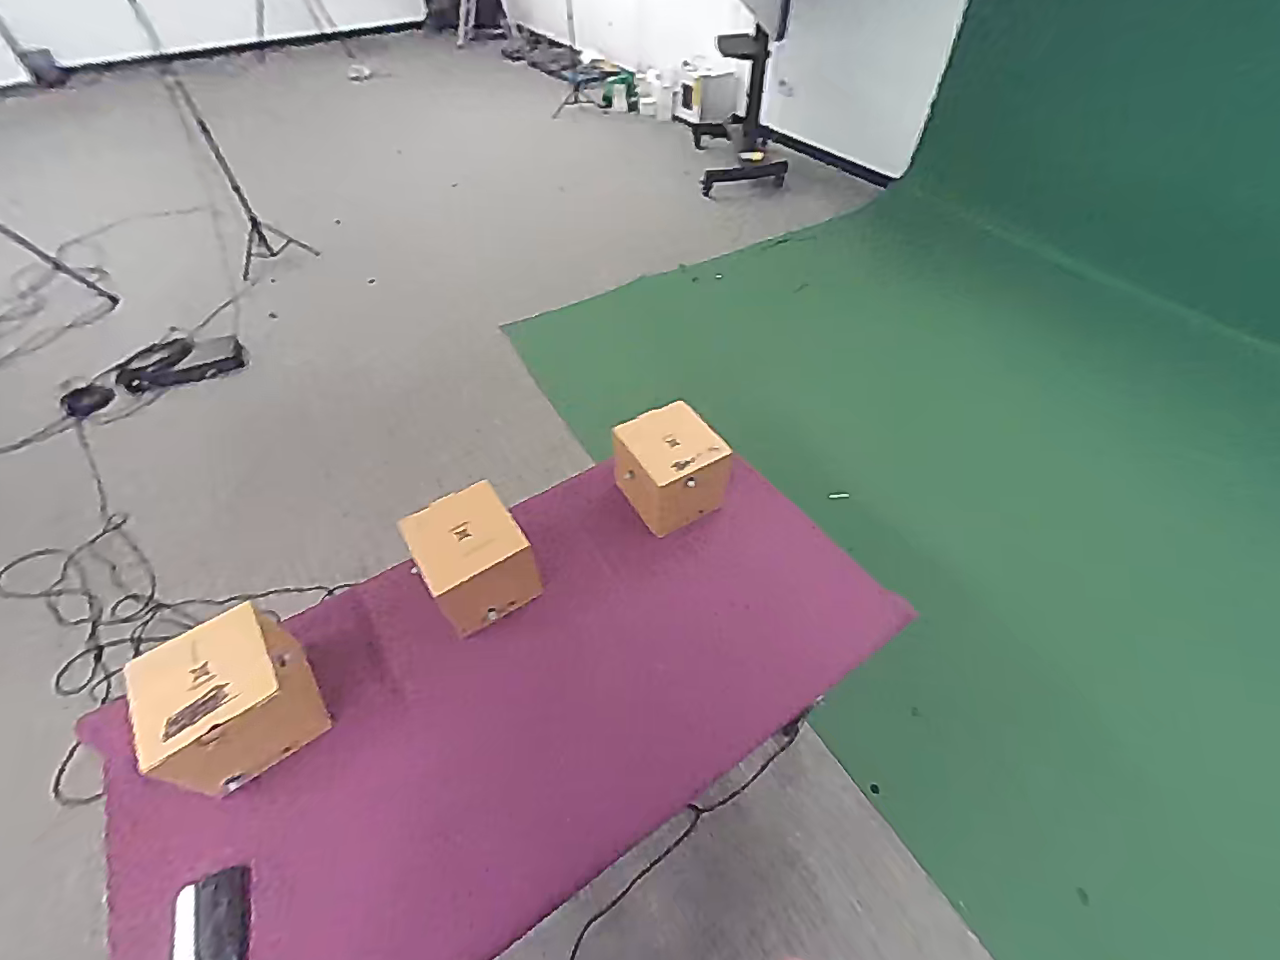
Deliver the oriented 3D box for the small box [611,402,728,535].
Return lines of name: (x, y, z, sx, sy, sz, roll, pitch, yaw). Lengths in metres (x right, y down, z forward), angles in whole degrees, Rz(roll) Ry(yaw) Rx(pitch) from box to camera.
small box: (0.053, -0.022, 1.089, 0.168, 0.176, 0.179, -25, 53, -19)

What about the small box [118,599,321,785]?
small box: (-0.606, 0.318, 0.796, 0.168, 0.176, 0.179, -30, 55, -24)

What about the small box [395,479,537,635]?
small box: (-0.301, 0.137, 0.954, 0.168, 0.176, 0.179, -28, 56, -21)
